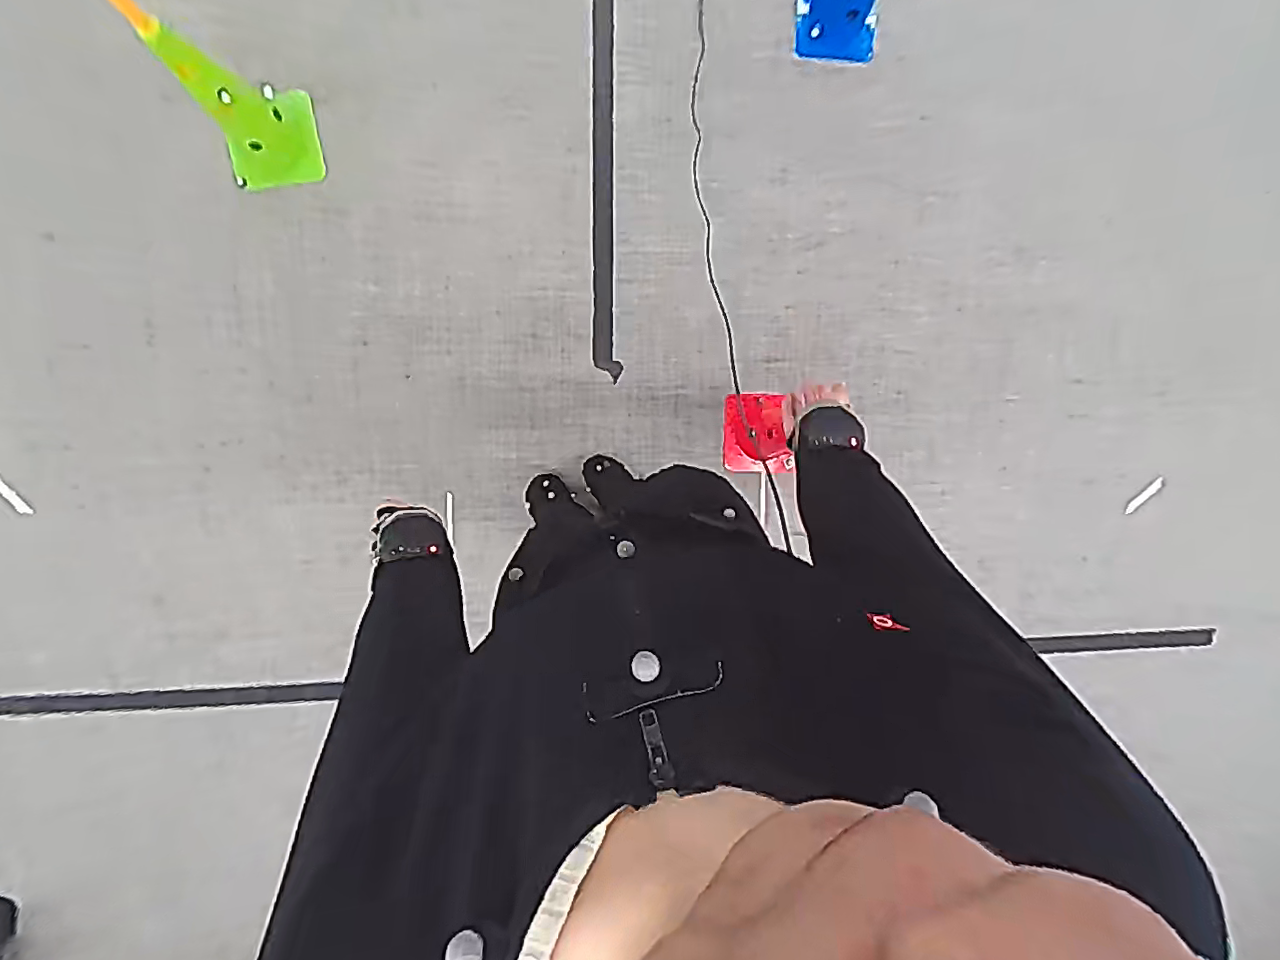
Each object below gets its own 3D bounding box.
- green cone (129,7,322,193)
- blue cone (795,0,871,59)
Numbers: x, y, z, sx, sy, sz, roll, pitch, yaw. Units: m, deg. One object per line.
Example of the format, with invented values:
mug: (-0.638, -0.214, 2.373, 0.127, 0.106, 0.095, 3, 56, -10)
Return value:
green cone: (-0.828, -0.760, 1.065, 0.200, 0.368, 0.202, -11, 93, -4)
blue cone: (0.484, -1.123, 1.159, 0.193, 0.380, 0.192, 2, 94, -5)
